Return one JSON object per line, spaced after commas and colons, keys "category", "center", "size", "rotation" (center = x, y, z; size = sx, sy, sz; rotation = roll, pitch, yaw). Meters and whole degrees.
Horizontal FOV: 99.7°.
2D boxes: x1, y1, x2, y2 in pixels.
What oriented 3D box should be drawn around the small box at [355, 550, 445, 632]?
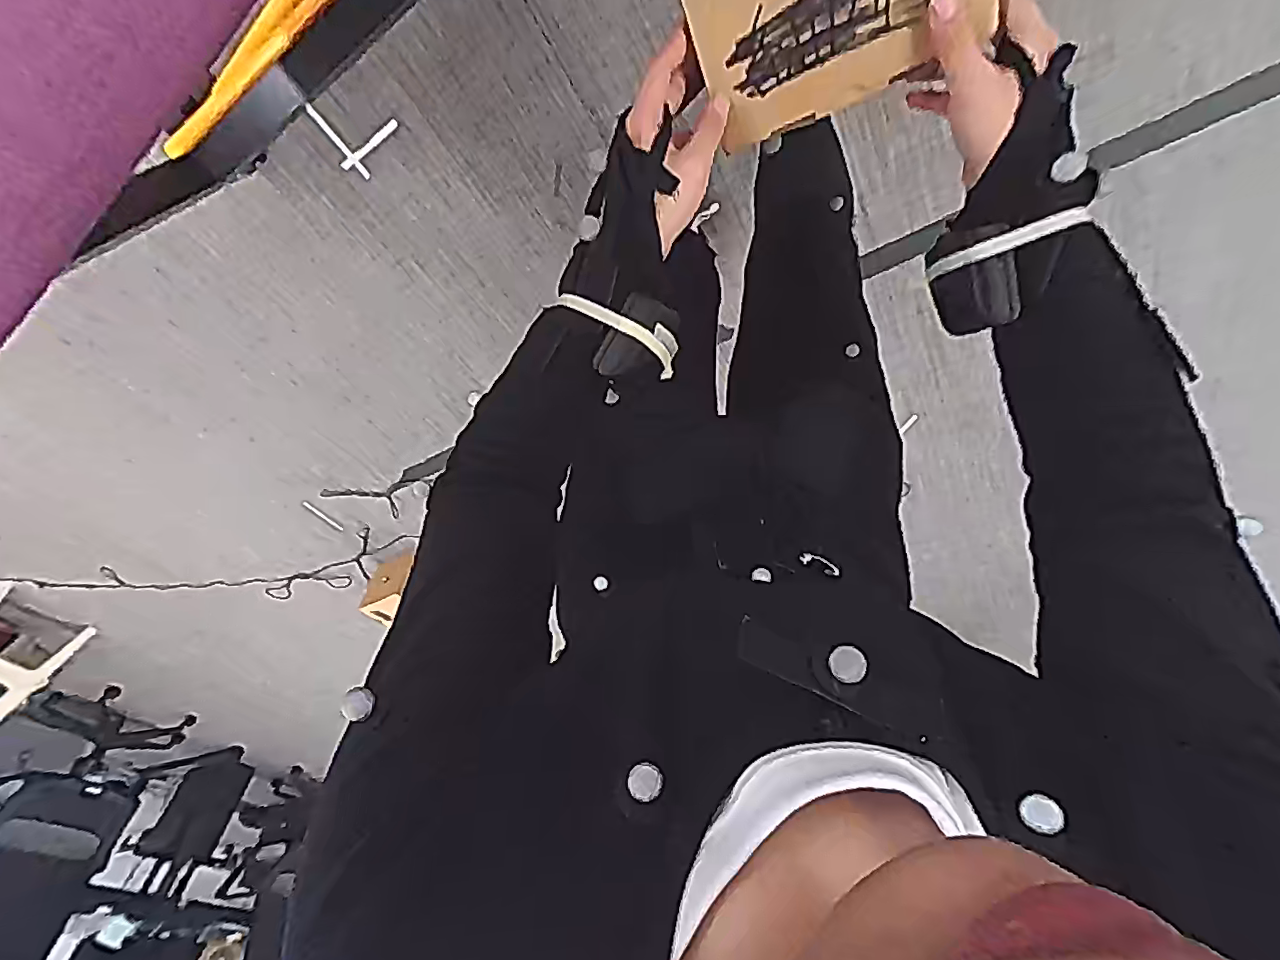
{"category": "small box", "center": [-0.755, 0.352, 1.719], "size": [0.179, 0.176, 0.168], "rotation": [-23, 130, 22]}
